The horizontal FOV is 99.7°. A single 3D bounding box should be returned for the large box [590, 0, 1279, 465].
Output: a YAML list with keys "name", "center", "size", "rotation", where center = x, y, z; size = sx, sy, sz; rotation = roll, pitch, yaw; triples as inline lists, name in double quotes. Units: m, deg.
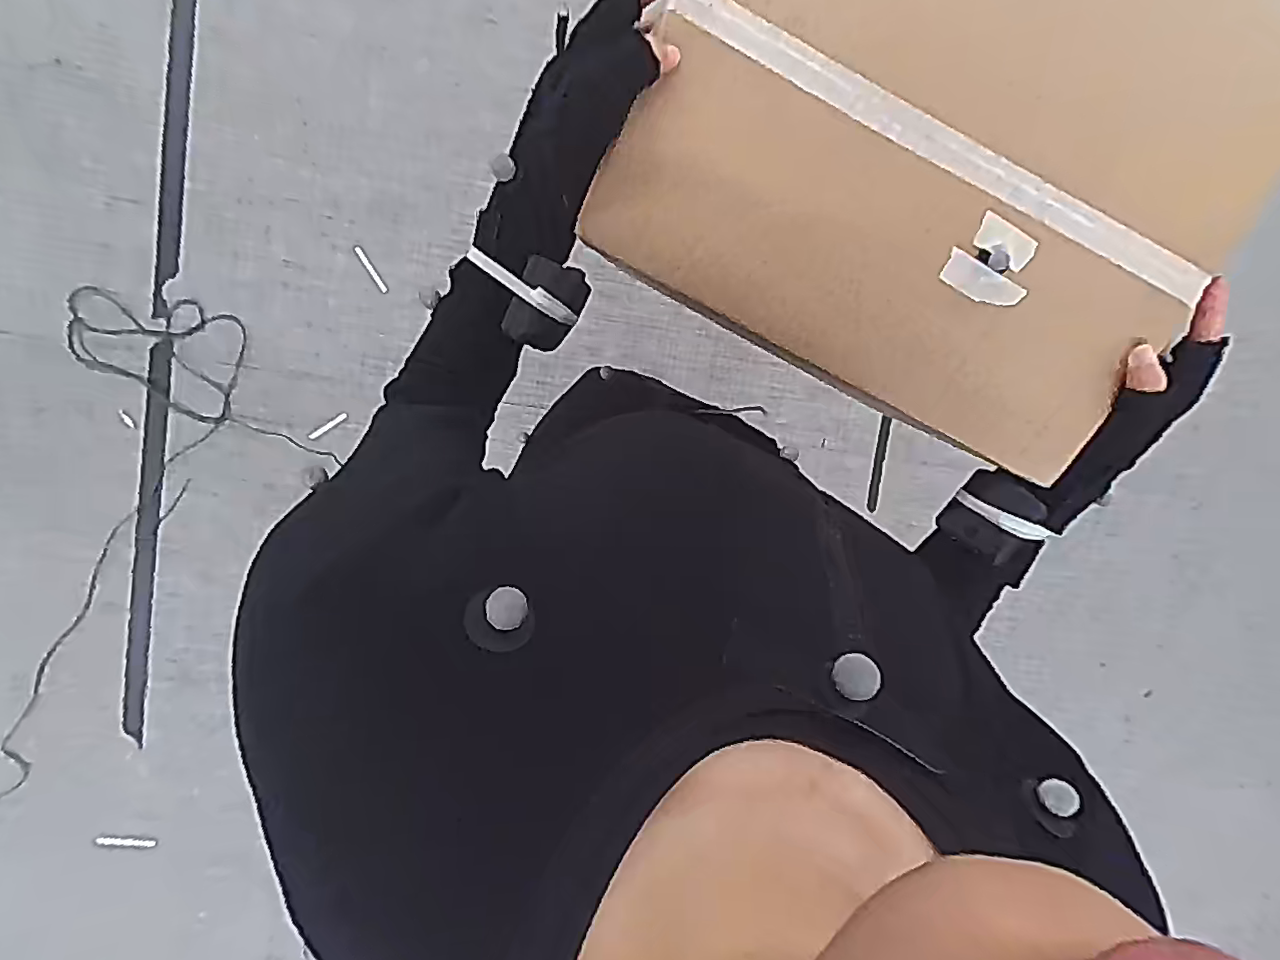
- name: "large box"
  center: [0.210, -0.268, 0.510]
  size: [0.408, 0.320, 0.320]
  rotation: [27, 108, -5]
